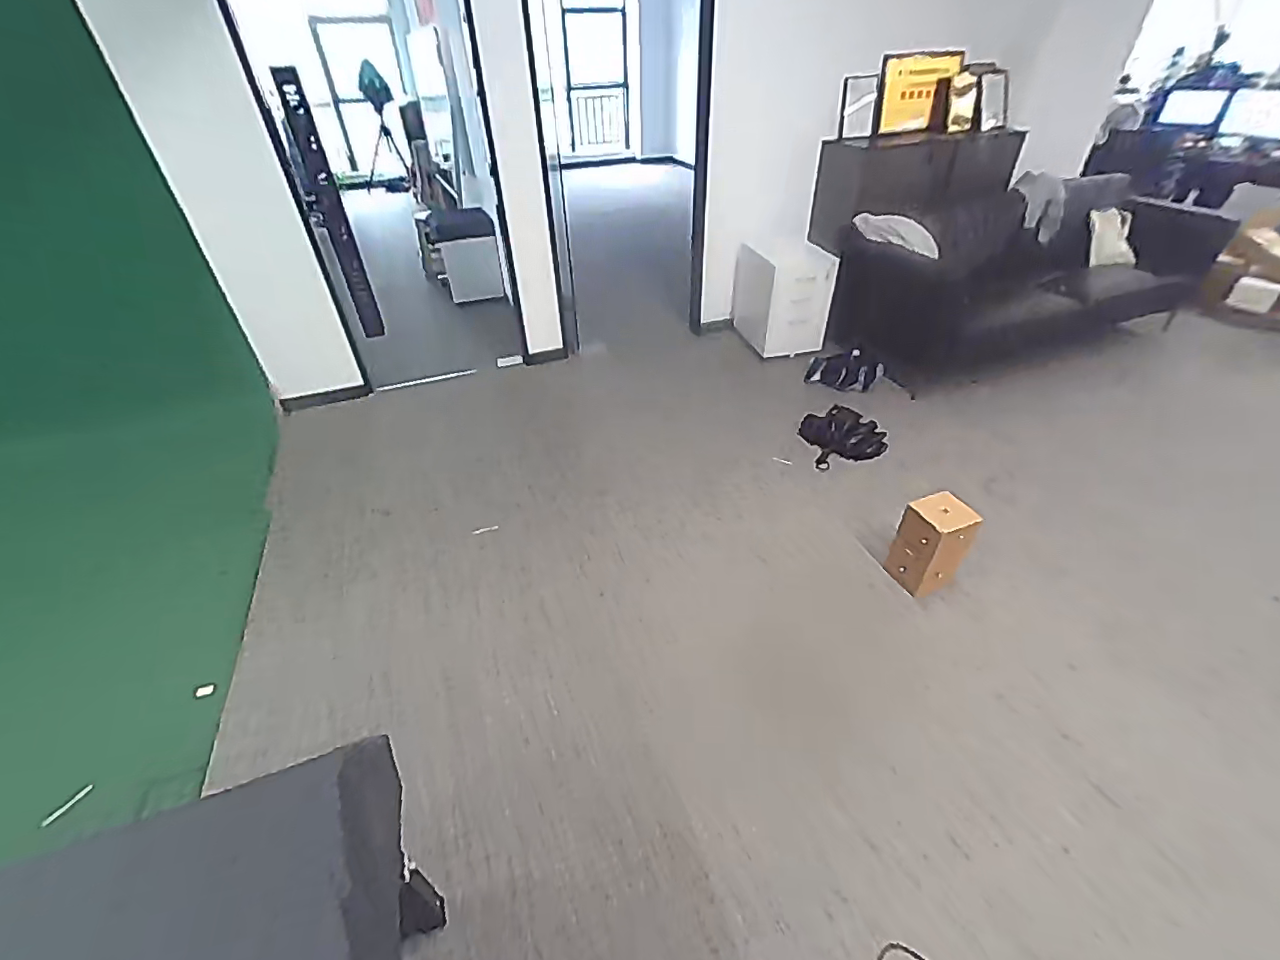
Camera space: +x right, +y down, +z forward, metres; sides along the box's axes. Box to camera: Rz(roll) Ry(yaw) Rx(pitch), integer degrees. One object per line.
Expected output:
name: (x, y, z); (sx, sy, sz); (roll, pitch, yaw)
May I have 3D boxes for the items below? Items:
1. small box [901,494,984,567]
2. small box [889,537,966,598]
small box: (1.039, 0.177, 1.880); (0.179, 0.176, 0.168); (-14, 41, -17)
small box: (1.041, 0.305, 1.981); (0.179, 0.176, 0.168); (-16, 40, -16)
